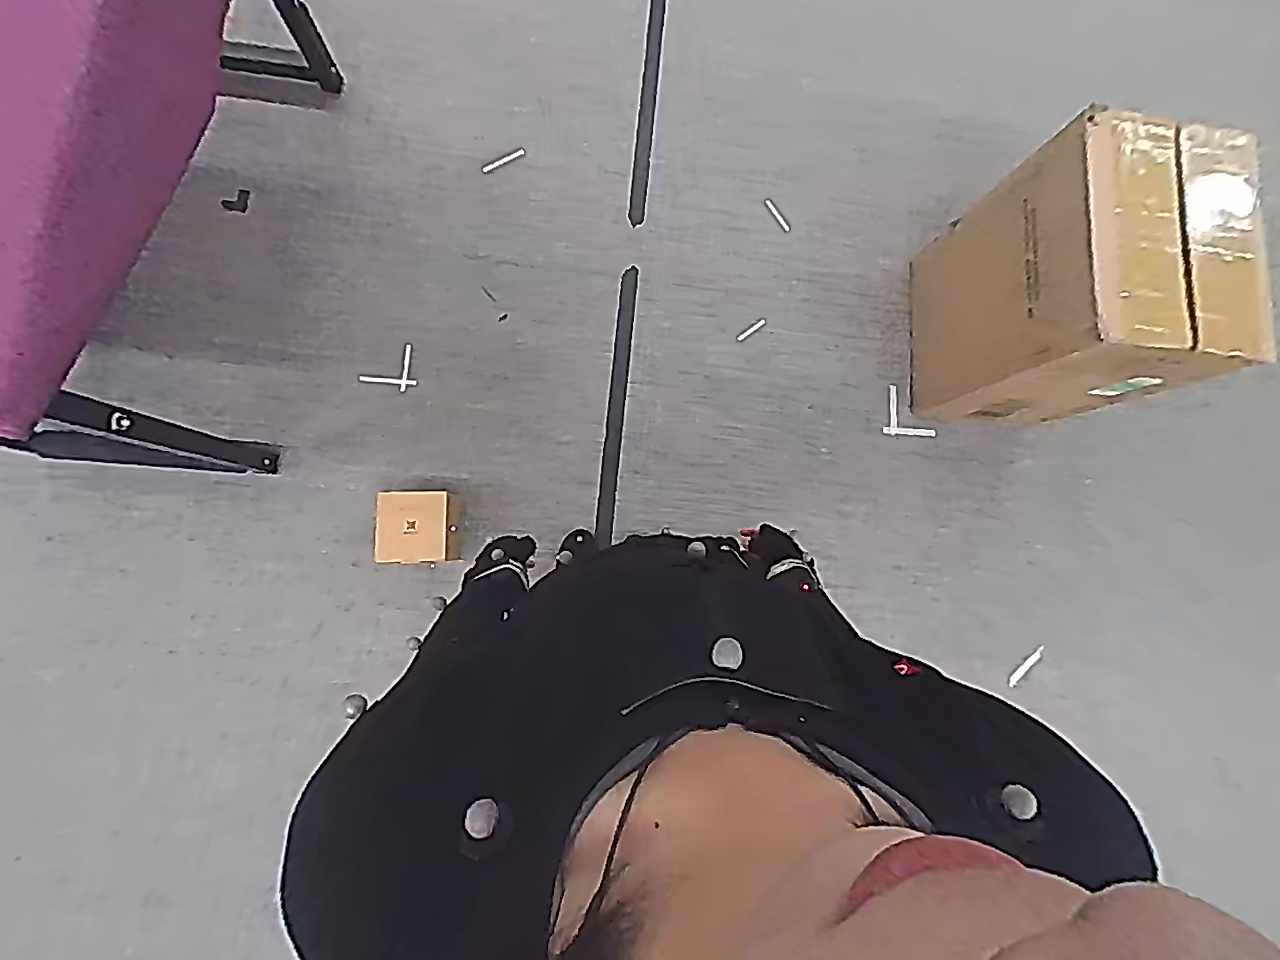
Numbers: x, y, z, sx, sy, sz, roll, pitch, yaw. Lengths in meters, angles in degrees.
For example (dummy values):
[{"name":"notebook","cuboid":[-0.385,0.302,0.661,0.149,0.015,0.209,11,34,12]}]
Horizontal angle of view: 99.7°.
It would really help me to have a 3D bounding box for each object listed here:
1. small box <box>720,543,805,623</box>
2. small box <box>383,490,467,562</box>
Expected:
[{"name":"small box","cuboid":[0.327,0.275,1.479,0.168,0.176,0.179,15,82,-4]},{"name":"small box","cuboid":[-0.552,0.122,1.407,0.168,0.176,0.179,-1,82,-7]}]
